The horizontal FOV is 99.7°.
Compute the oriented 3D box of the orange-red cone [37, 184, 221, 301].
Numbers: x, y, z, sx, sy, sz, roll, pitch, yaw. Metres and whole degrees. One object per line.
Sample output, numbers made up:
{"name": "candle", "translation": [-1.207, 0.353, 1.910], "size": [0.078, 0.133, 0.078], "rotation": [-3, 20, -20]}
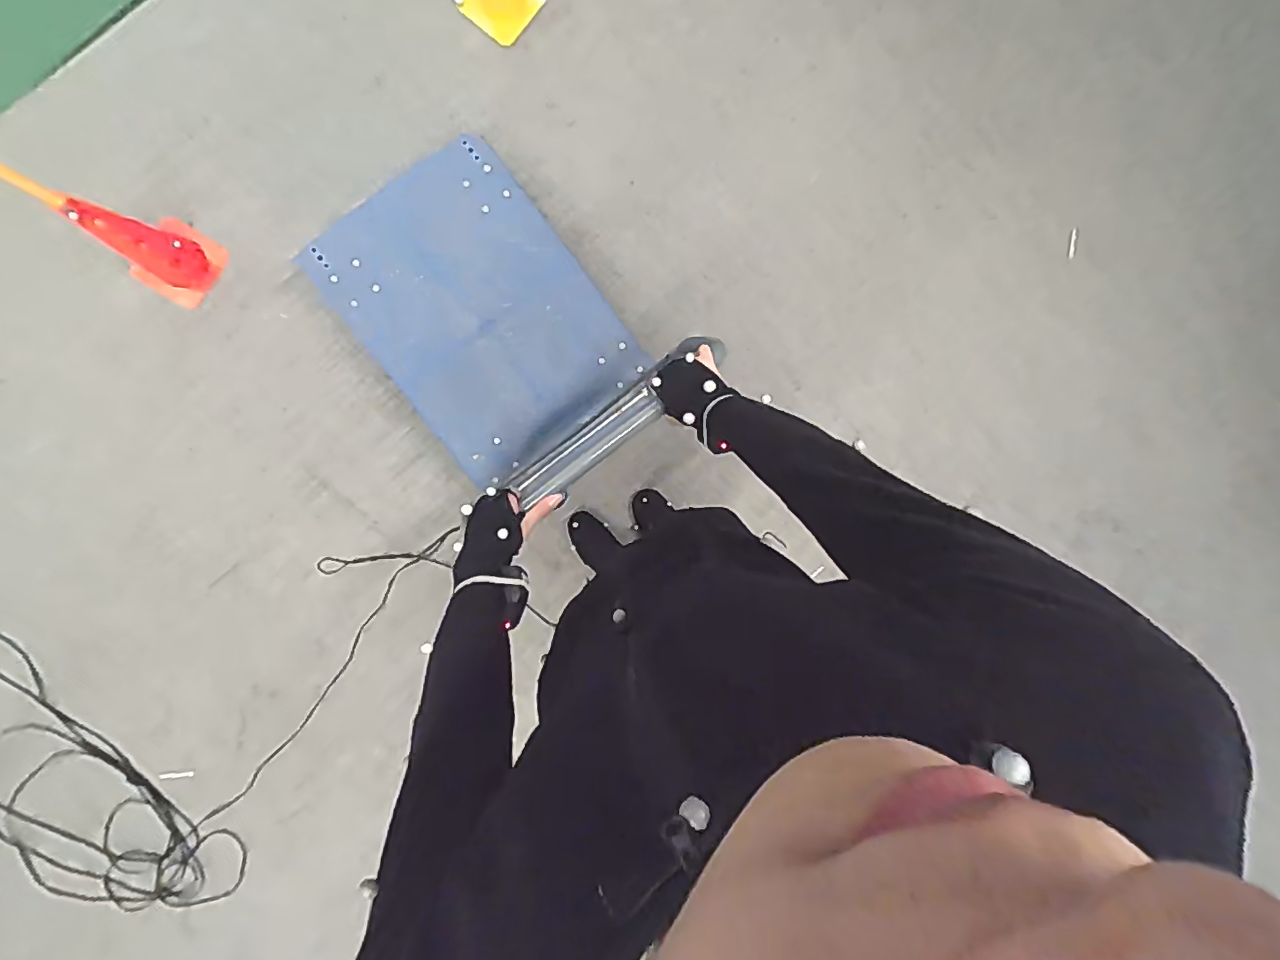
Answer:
{"name": "orange-red cone", "translation": [-1.276, -0.615, 1.324], "size": [0.198, 0.360, 0.199], "rotation": [34, 90, -4]}
